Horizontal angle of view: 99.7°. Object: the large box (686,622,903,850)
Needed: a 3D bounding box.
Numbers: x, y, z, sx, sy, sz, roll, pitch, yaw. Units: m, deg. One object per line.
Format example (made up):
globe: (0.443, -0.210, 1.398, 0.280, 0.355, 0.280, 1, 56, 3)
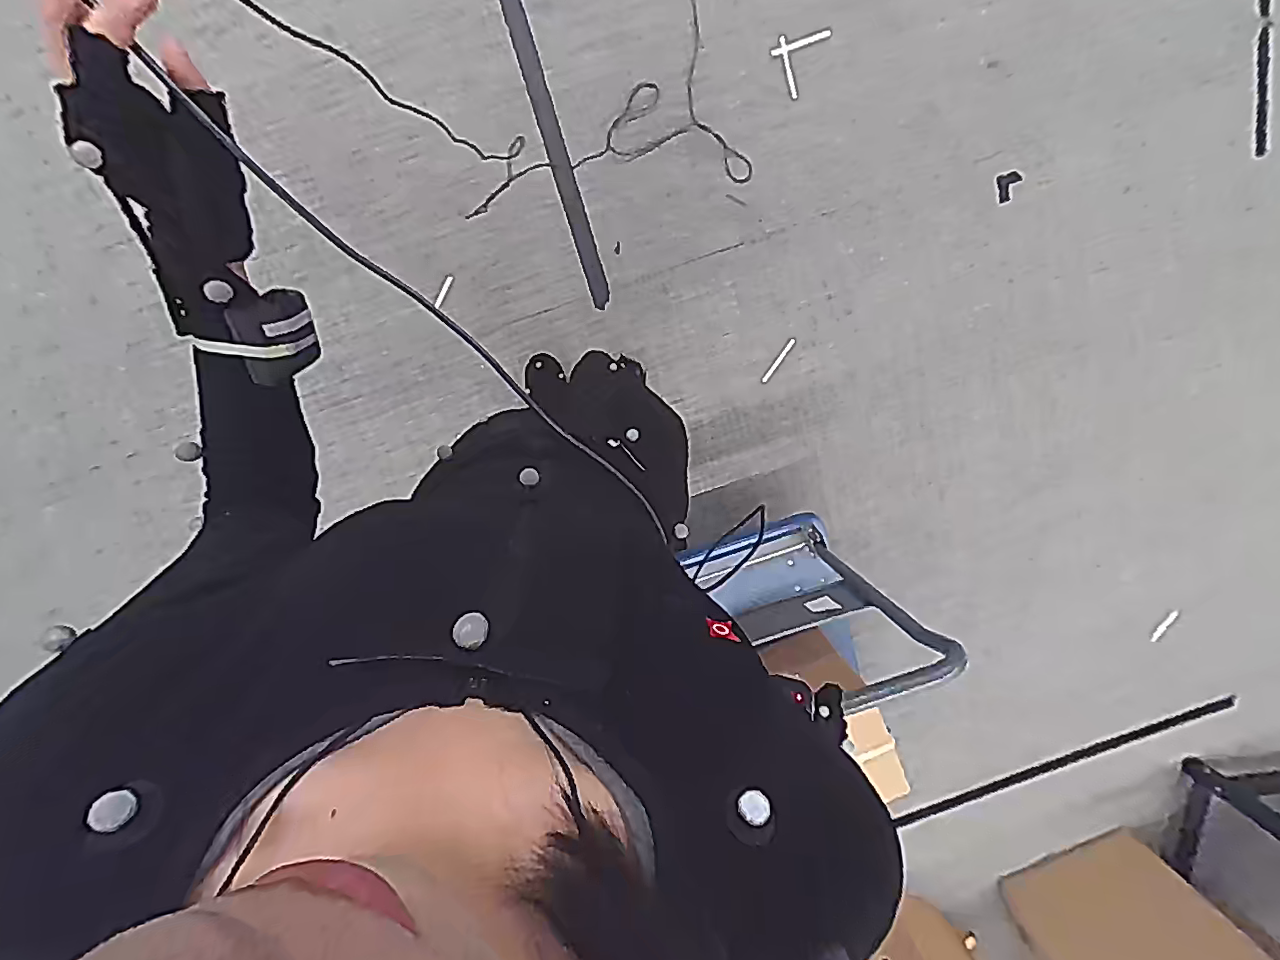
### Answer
large box: (0.379, 0.639, 1.399, 0.408, 0.320, 0.320, -25, 104, 2)
